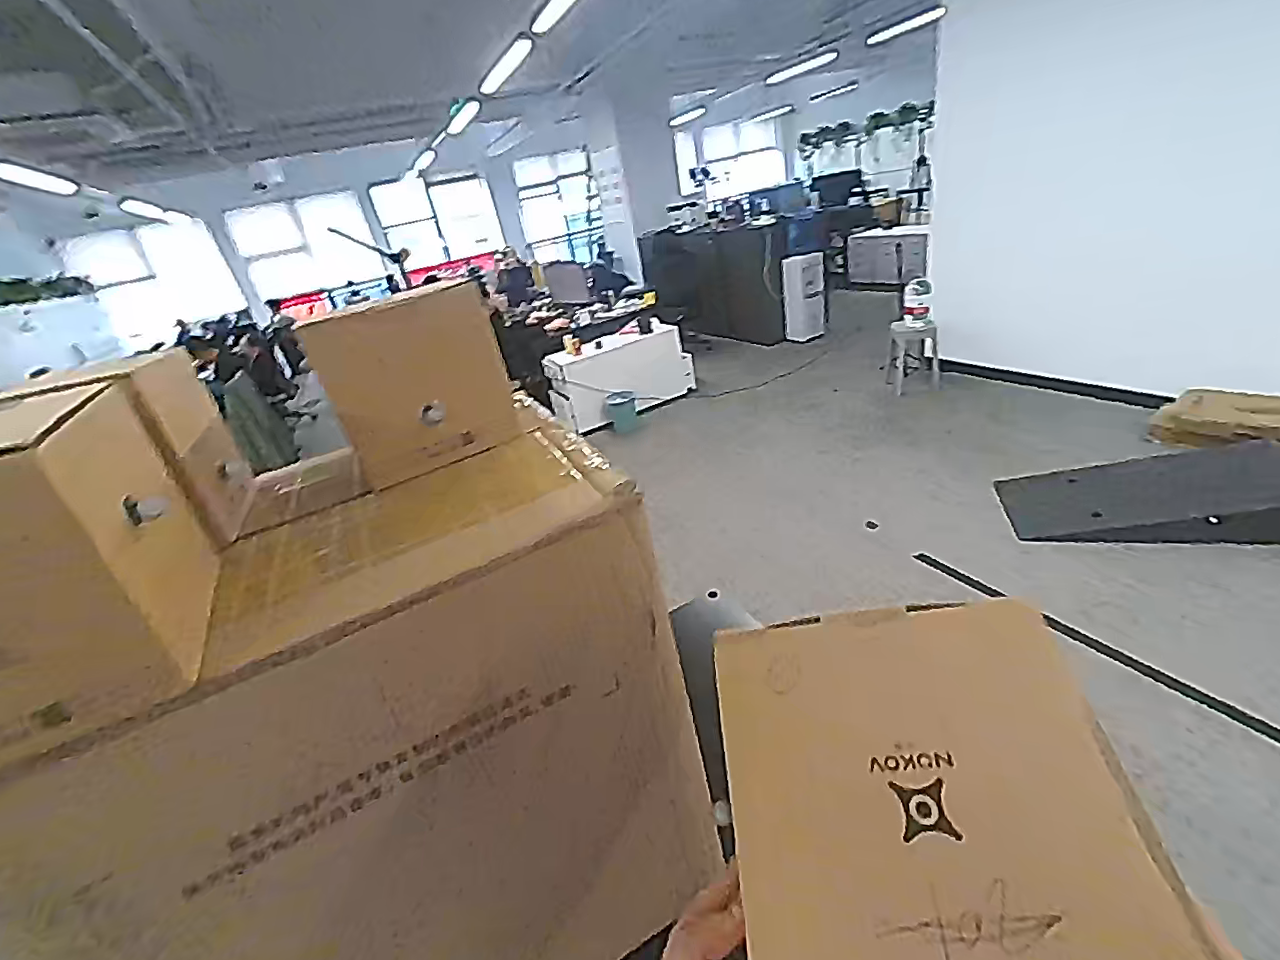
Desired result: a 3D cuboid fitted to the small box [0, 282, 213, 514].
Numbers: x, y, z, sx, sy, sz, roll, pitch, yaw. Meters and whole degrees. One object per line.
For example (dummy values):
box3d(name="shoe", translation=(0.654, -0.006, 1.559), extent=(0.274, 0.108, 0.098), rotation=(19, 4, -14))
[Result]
box3d(name="small box", translation=(-0.484, -0.047, 0.416), extent=(0.179, 0.176, 0.168), rotation=(-21, 28, -20))

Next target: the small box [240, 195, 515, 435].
box3d(name="small box", translation=(-0.241, -0.157, 0.523), extent=(0.168, 0.176, 0.179), rotation=(-25, 28, -20))

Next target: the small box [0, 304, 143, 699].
box3d(name="small box", translation=(-0.381, 0.018, 0.250), extent=(0.168, 0.176, 0.179), rotation=(-22, 32, -26))
